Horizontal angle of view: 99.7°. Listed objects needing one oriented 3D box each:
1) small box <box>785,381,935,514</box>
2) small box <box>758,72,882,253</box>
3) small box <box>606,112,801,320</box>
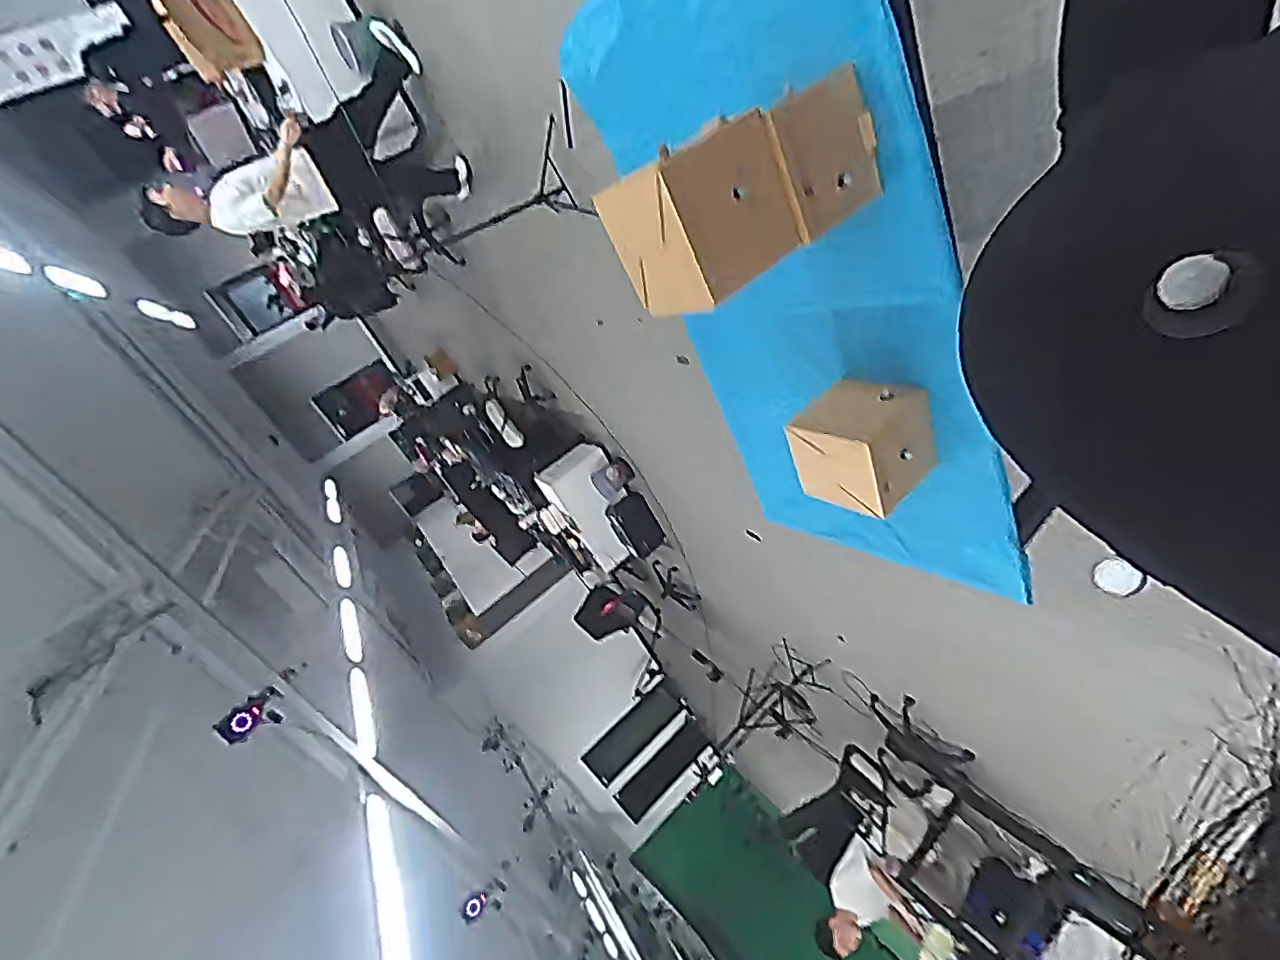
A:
[{"bbox_3d":[0.401,-0.061,0.990,0.179,0.176,0.168,23,146,53],"label":"small box"},{"bbox_3d":[0.205,-0.431,0.777,0.179,0.176,0.168,19,143,58],"label":"small box"},{"bbox_3d":[0.077,-0.341,0.727,0.168,0.176,0.179,23,149,57],"label":"small box"}]
